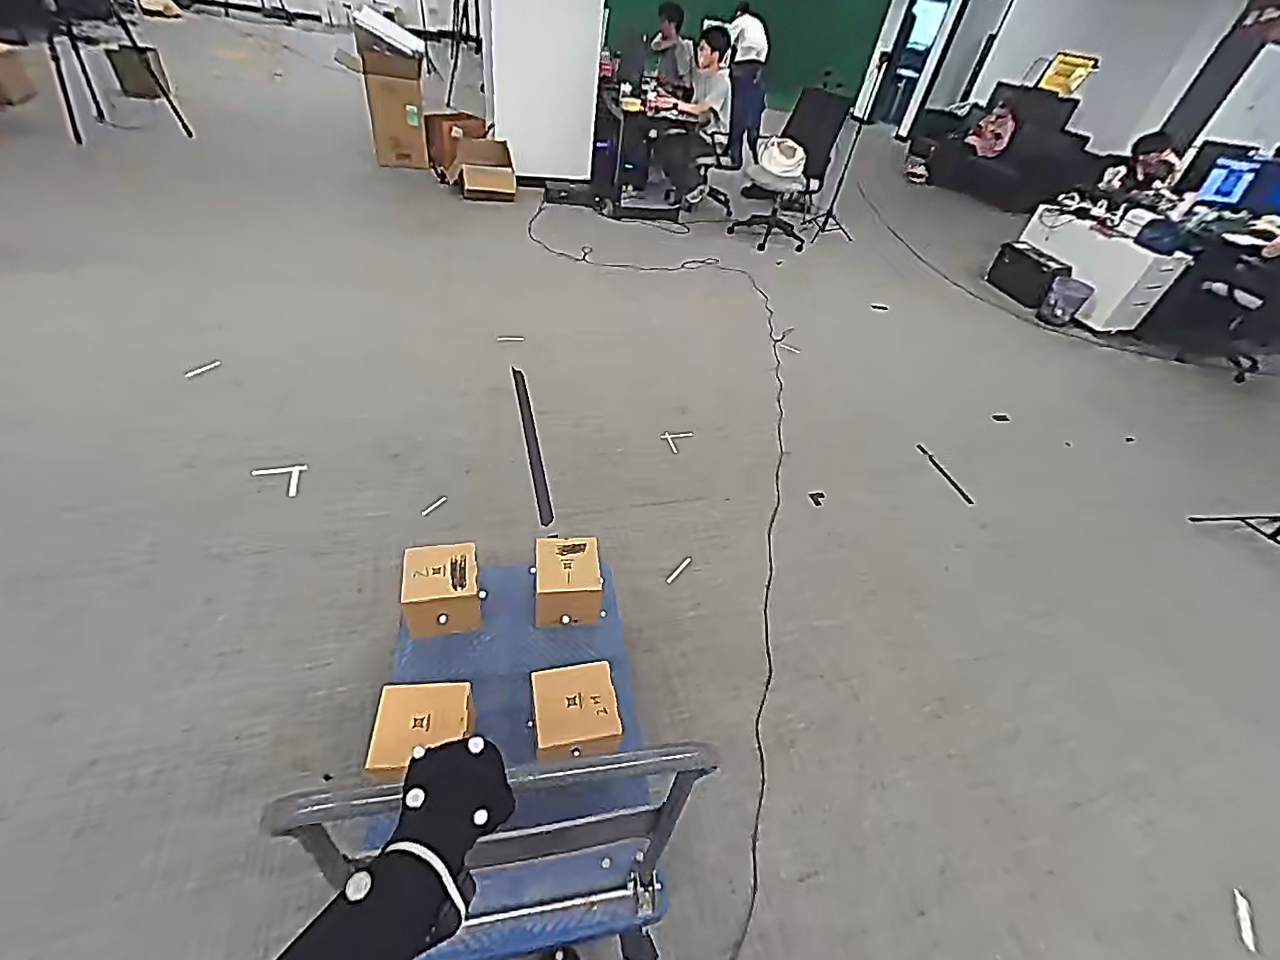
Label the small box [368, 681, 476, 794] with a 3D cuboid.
[{"bbox_3d":[-0.446,0.542,1.136,0.179,0.176,0.168,2,43,-11],"label":"small box"}]

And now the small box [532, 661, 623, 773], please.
[{"bbox_3d":[-0.144,0.530,1.208,0.179,0.176,0.168,-4,45,-15],"label":"small box"}]

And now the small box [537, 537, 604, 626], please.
[{"bbox_3d":[-0.195,0.275,1.470,0.168,0.176,0.179,0,45,-11],"label":"small box"}]
